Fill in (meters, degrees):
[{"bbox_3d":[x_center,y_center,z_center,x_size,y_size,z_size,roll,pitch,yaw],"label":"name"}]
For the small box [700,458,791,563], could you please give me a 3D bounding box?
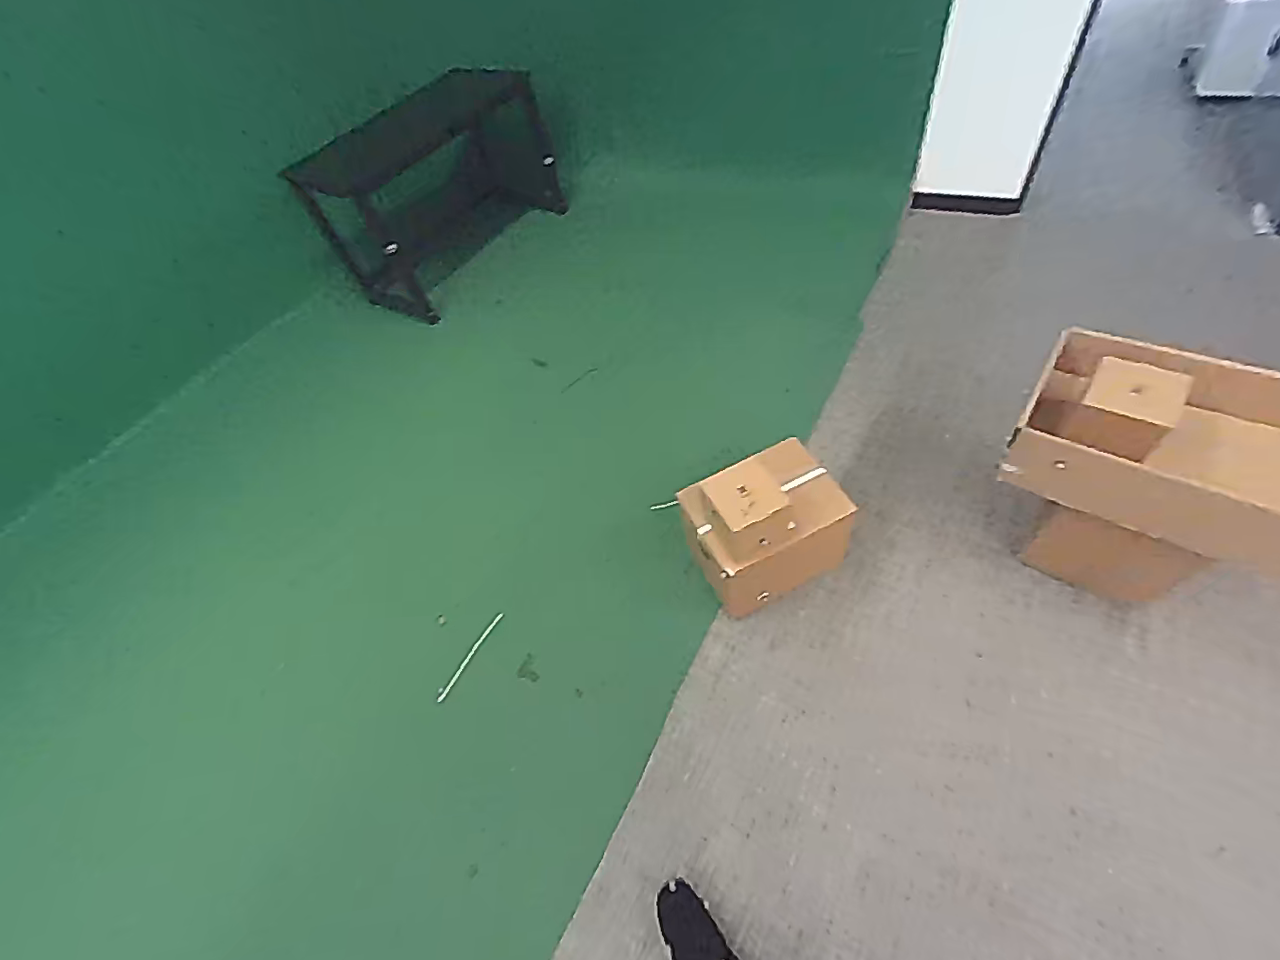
[{"bbox_3d":[0.269,0.082,1.406,0.168,0.176,0.179,-26,54,-8],"label":"small box"}]
